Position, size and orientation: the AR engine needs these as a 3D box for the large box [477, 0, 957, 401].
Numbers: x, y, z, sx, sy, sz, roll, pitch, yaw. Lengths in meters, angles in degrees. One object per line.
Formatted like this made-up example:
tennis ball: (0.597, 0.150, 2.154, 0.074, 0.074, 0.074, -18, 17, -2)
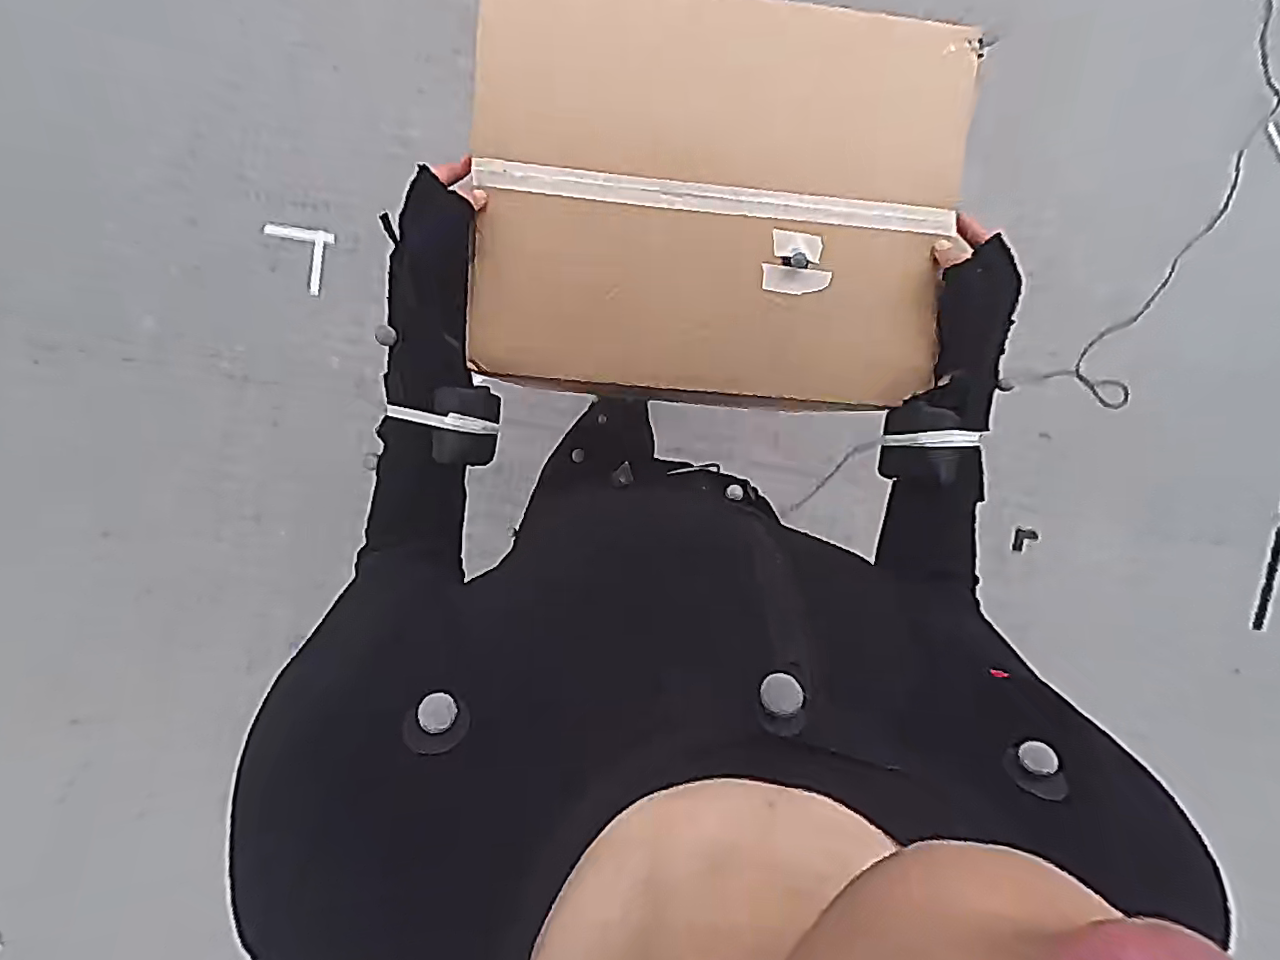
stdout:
large box: (0.052, -0.260, 0.609, 0.408, 0.320, 0.320, 4, 98, -6)
